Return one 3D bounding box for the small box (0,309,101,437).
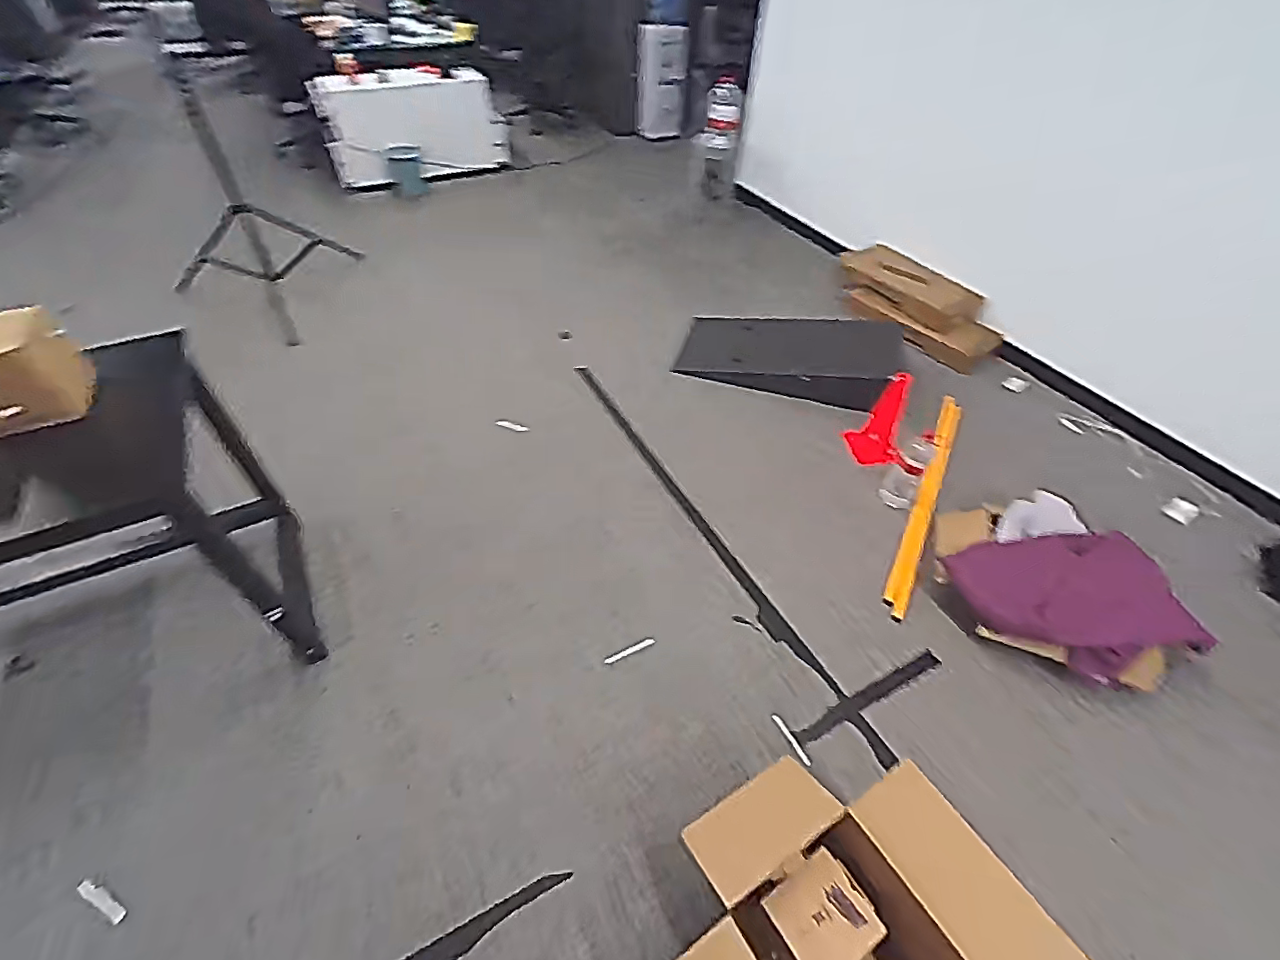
[{"bbox_3d":[-1.248,-0.216,1.090,0.168,0.176,0.179,-19,51,-18],"label":"small box"}]
